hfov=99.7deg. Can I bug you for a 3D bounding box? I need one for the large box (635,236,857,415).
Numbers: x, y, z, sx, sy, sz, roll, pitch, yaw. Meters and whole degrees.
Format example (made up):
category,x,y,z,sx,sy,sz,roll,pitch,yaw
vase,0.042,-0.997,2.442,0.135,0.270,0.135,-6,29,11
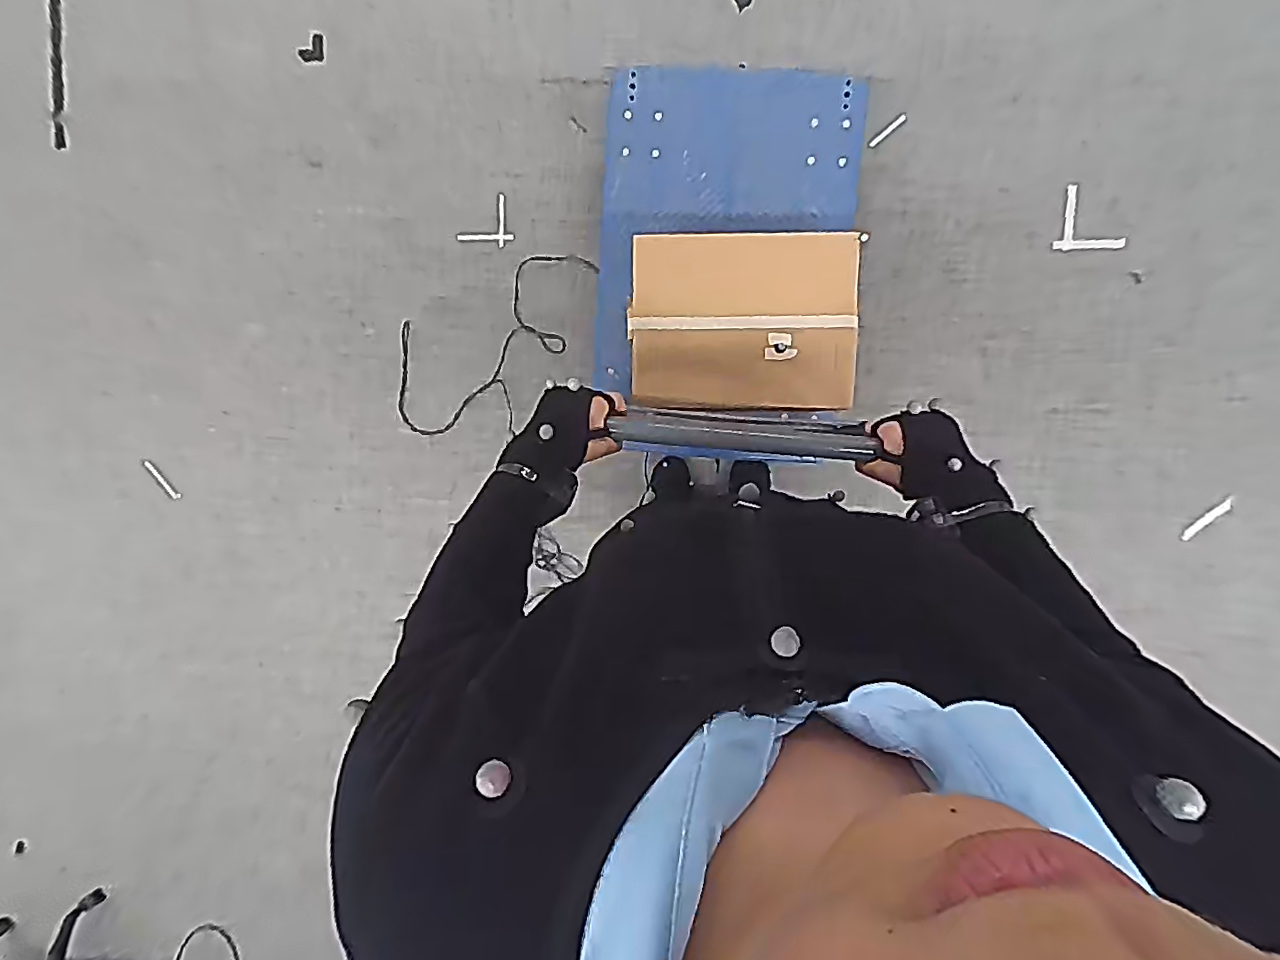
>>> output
category,x,y,z,sx,sy,sz,roll,pitch,yaw
large box,0.197,-0.298,1.137,0.408,0.320,0.320,0,96,2
